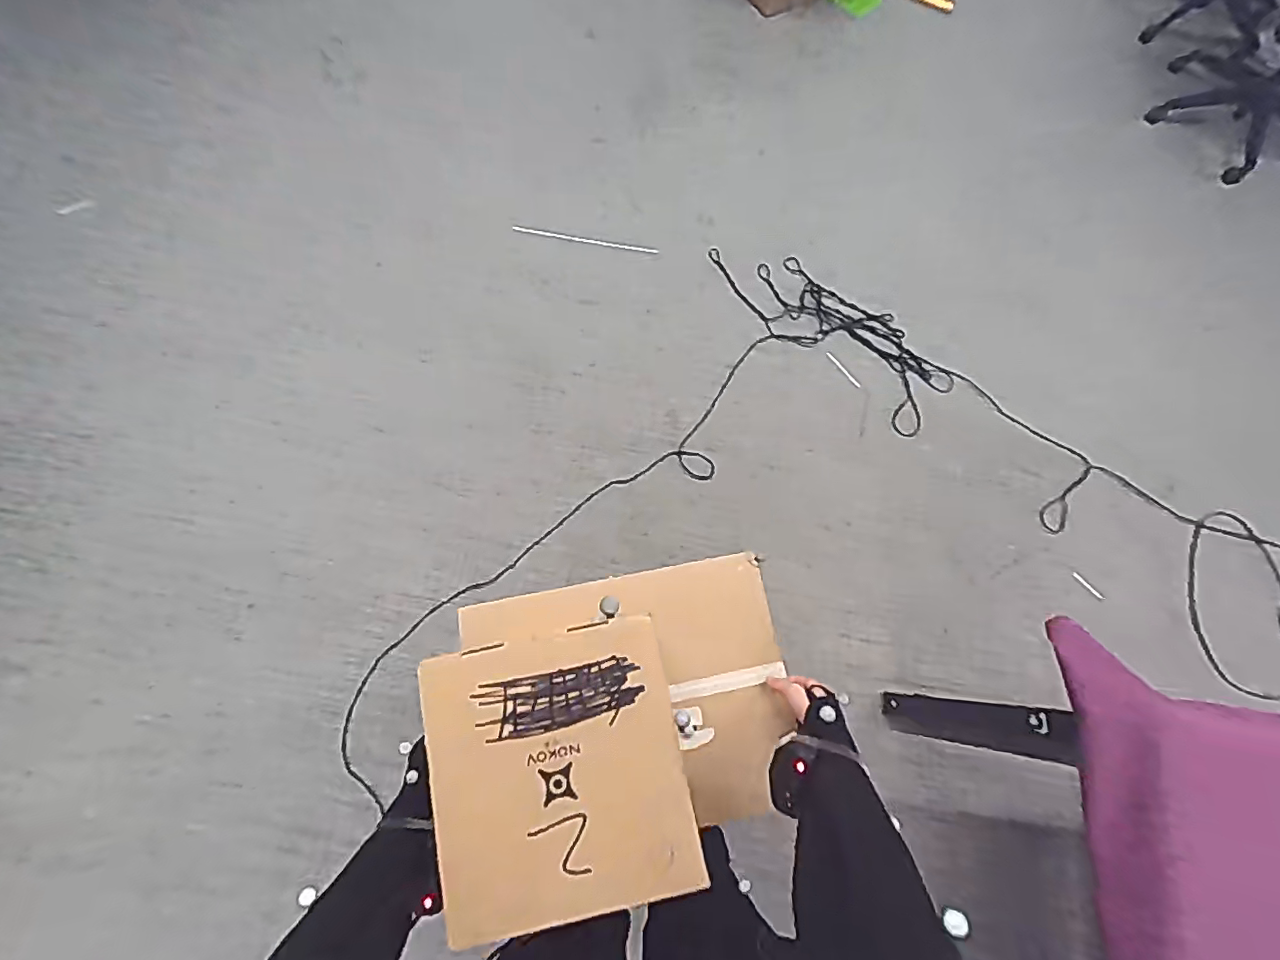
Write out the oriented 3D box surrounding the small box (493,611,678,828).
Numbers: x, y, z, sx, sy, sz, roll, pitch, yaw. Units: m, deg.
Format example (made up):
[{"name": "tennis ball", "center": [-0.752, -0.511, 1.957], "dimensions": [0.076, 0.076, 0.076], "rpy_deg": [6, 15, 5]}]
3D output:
[{"name": "small box", "center": [-0.057, 0.244, 0.590], "dimensions": [0.168, 0.176, 0.179], "rpy_deg": [-7, 76, -2]}]
